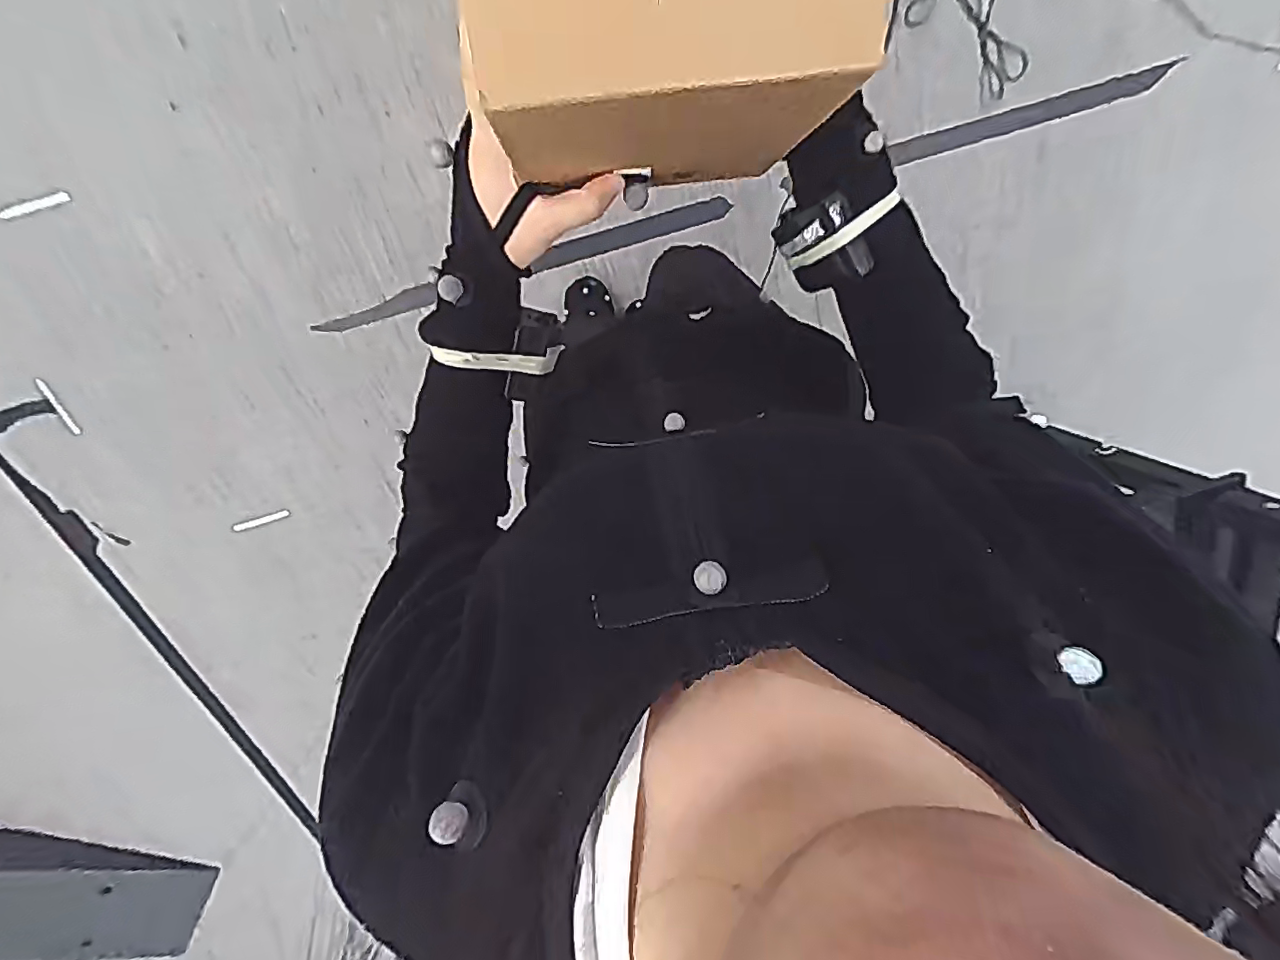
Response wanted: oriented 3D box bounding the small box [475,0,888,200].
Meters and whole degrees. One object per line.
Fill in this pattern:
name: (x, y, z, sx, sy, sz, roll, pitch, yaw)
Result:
small box: (0.005, -0.263, 0.273, 0.168, 0.176, 0.179, -8, 106, -2)
